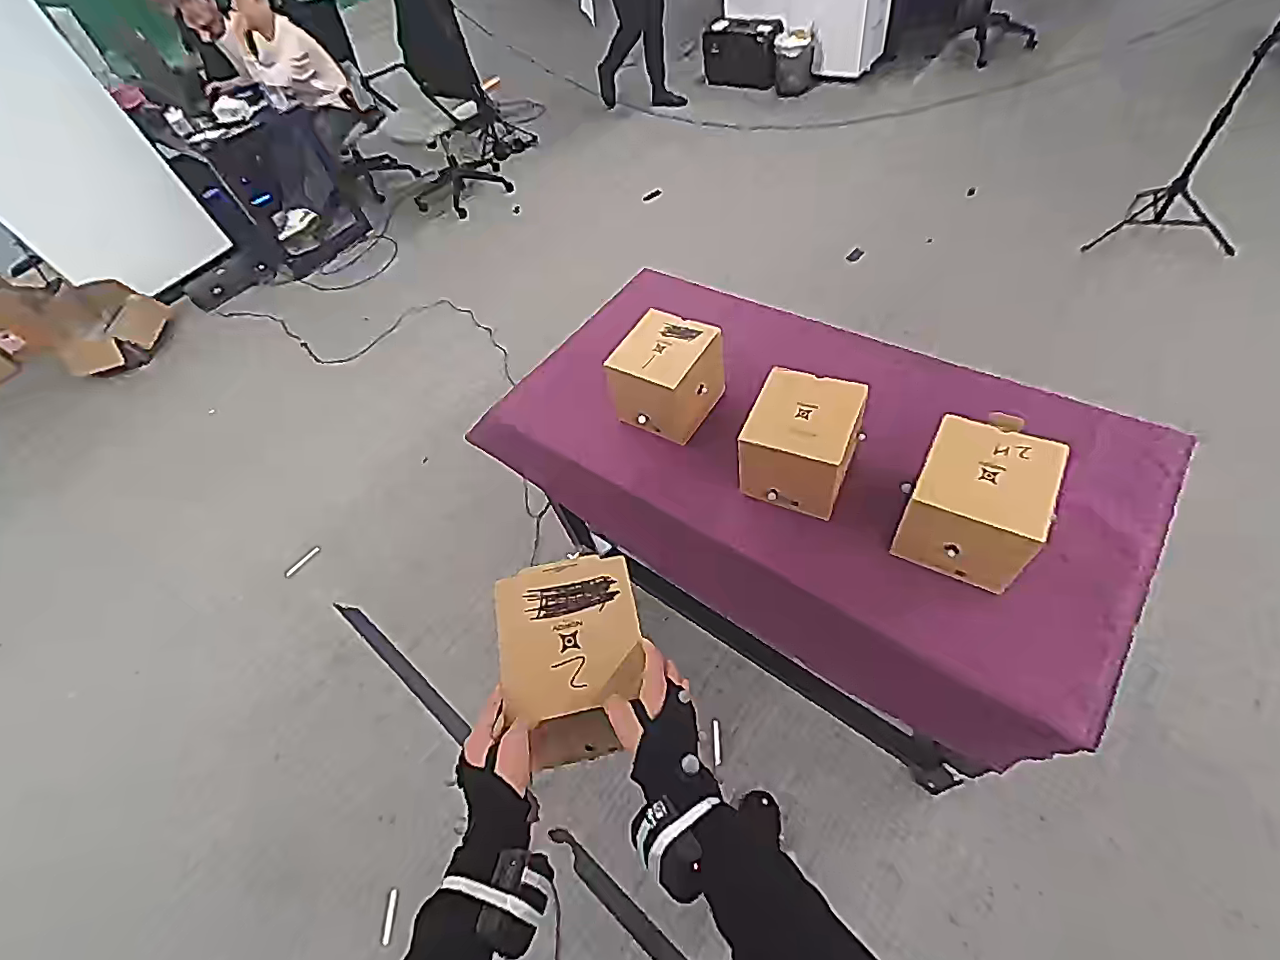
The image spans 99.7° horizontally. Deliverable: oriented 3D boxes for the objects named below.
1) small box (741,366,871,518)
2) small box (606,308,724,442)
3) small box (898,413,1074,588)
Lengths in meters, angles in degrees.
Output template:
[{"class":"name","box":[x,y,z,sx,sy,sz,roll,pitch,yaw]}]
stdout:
[{"class":"small box","box":[0.283,-0.066,0.941,0.168,0.176,0.179,18,60,24]},{"class":"small box","box":[0.058,-0.210,1.091,0.168,0.176,0.179,25,64,26]},{"class":"small box","box":[0.510,0.035,0.818,0.168,0.176,0.179,22,62,25]}]
